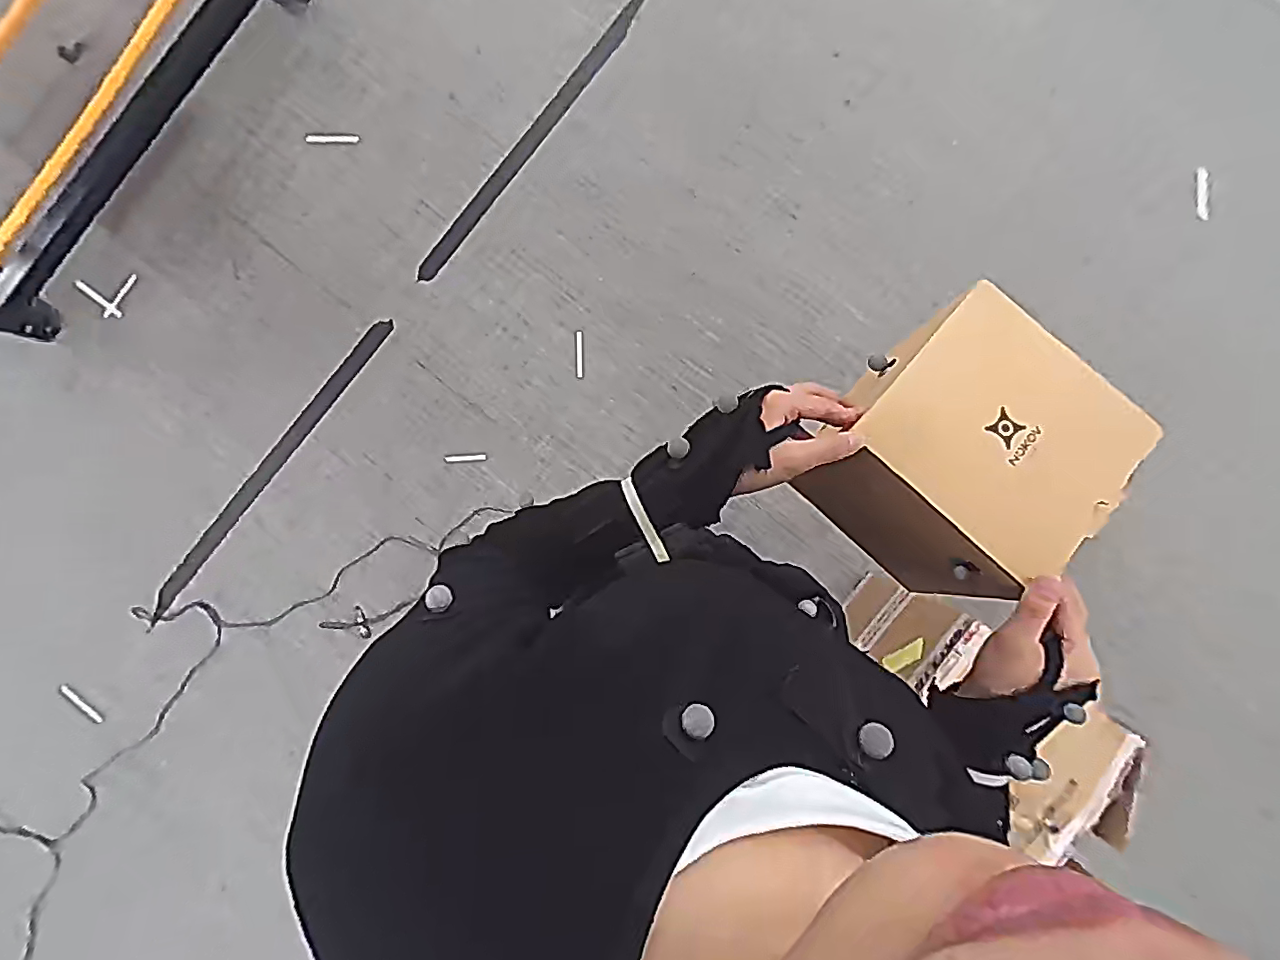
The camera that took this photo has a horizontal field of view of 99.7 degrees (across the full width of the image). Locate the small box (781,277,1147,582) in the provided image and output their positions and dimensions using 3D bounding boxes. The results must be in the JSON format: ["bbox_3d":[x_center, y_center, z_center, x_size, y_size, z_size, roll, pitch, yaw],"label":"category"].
[{"bbox_3d":[0.254,-0.028,0.471,0.179,0.176,0.168,42,81,3],"label":"small box"}]
